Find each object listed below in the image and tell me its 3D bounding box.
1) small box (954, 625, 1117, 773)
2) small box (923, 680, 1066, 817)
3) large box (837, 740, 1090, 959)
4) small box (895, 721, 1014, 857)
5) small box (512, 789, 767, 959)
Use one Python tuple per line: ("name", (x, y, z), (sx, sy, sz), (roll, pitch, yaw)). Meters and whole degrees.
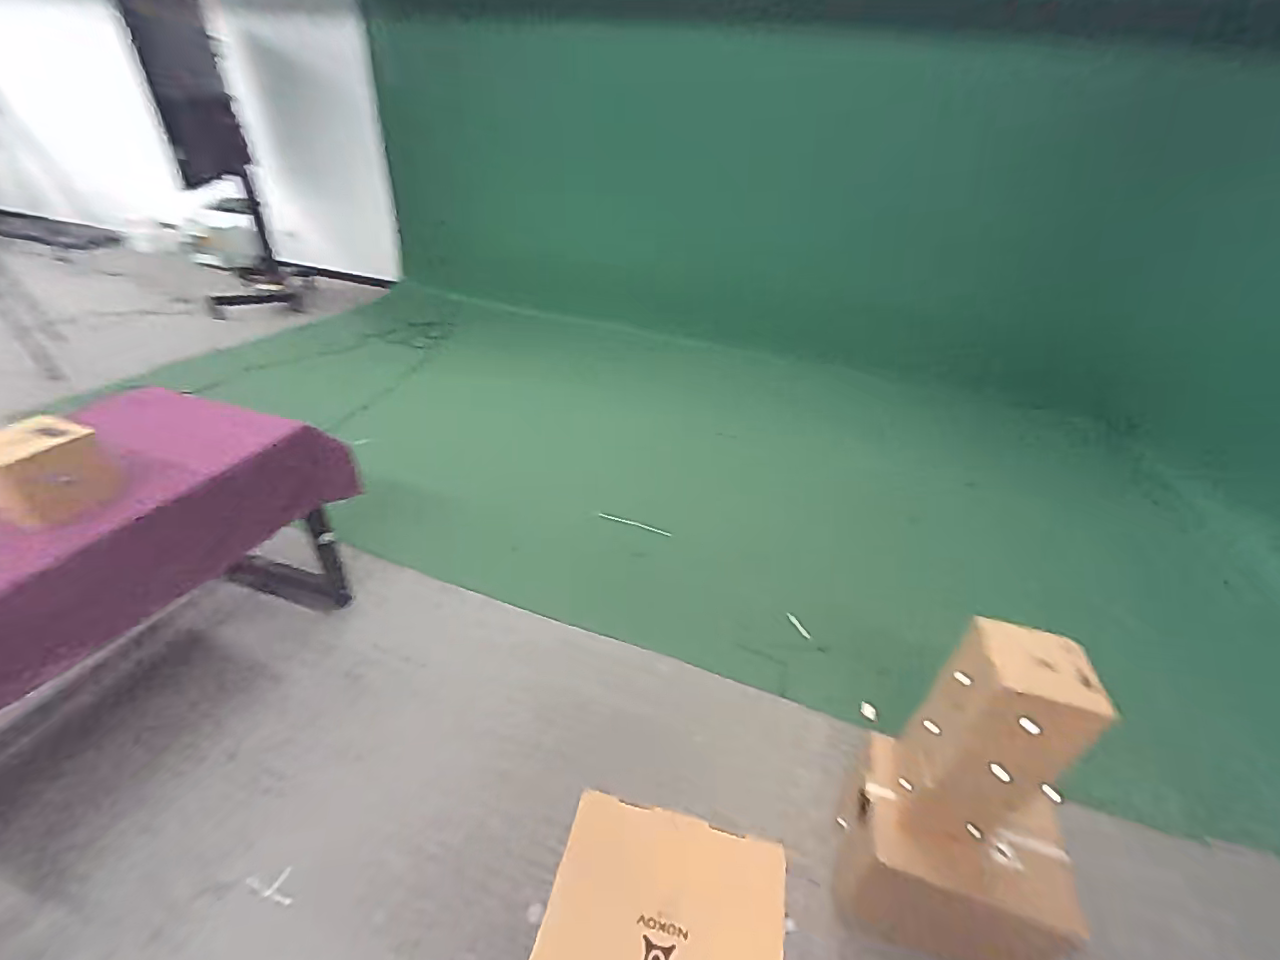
("small box", (0.705, 0.403, 0.995), (0.179, 0.176, 0.168), (13, 34, 11))
("small box", (0.692, 0.540, 1.087), (0.179, 0.176, 0.168), (13, 34, 9))
("large box", (0.713, 0.902, 1.282), (0.408, 0.320, 0.320), (15, 35, 13))
("small box", (0.672, 0.674, 1.179), (0.168, 0.176, 0.179), (15, 33, 12))
("small box", (-0.002, 0.381, 0.411), (0.168, 0.176, 0.179), (10, 35, 9))
